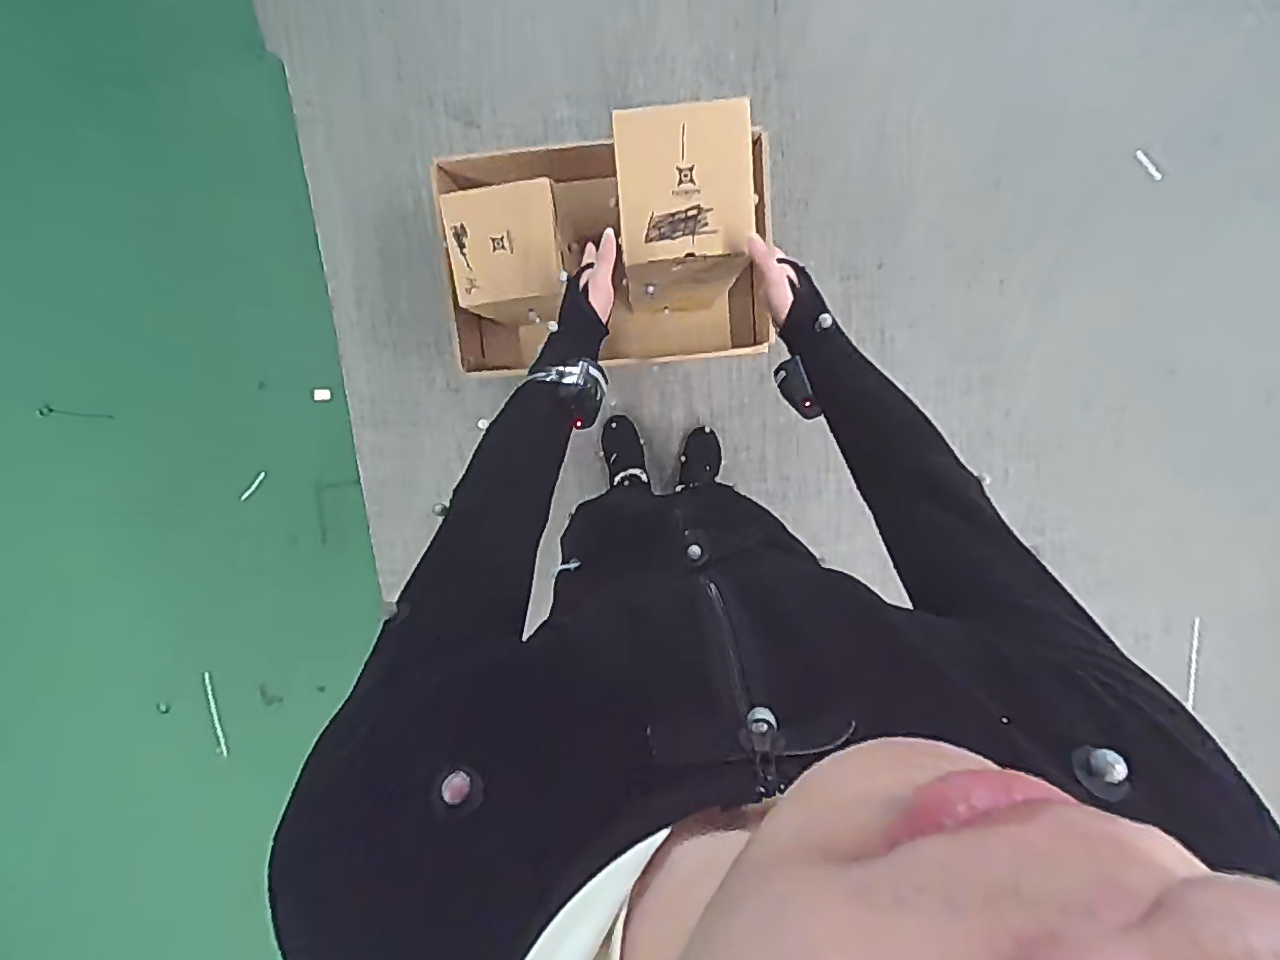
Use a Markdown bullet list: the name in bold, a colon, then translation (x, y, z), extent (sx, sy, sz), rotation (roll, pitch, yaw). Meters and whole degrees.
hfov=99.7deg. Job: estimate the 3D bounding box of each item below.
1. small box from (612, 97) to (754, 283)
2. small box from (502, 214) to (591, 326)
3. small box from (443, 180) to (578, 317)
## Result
- **small box**: translation (0.056, -0.371, 0.726), extent (0.168, 0.176, 0.179), rotation (-4, 98, 2)
- **small box**: translation (-0.198, -0.402, 1.061), extent (0.179, 0.176, 0.168), rotation (-5, 100, 1)
- **small box**: translation (-0.202, -0.374, 0.900), extent (0.179, 0.176, 0.168), rotation (-7, 100, 2)
